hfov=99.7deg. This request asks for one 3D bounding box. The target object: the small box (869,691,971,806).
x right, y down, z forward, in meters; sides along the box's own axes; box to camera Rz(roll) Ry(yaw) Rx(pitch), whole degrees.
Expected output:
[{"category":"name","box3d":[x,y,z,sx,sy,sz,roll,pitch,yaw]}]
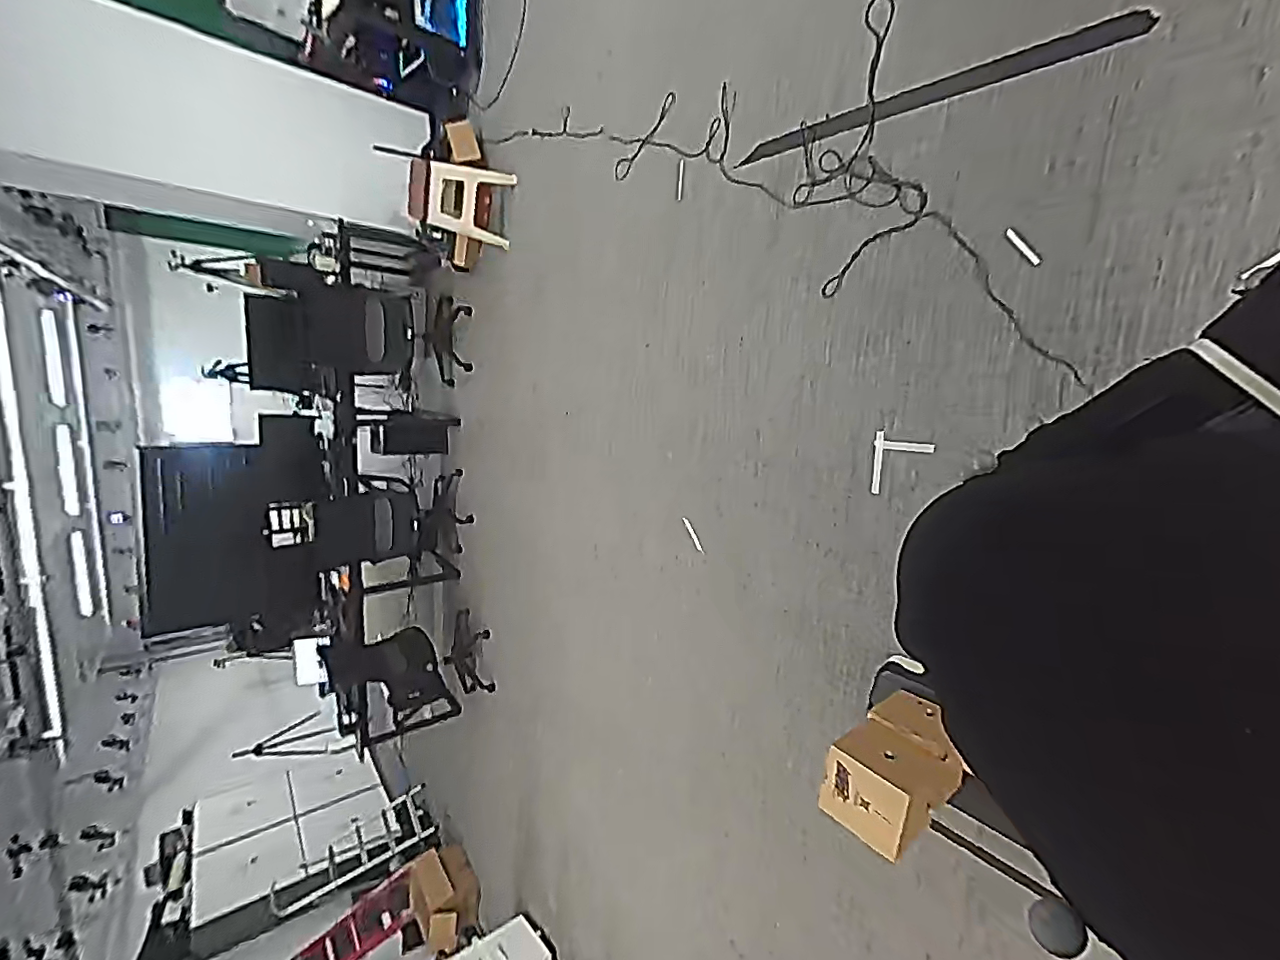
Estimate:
[{"category":"small box","box3d":[0.655,0.632,1.276,0.168,0.176,0.179,12,103,50]}]

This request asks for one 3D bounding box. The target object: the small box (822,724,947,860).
[{"category":"small box","box3d":[0.529,0.659,1.174,0.179,0.176,0.168,20,109,48]}]
